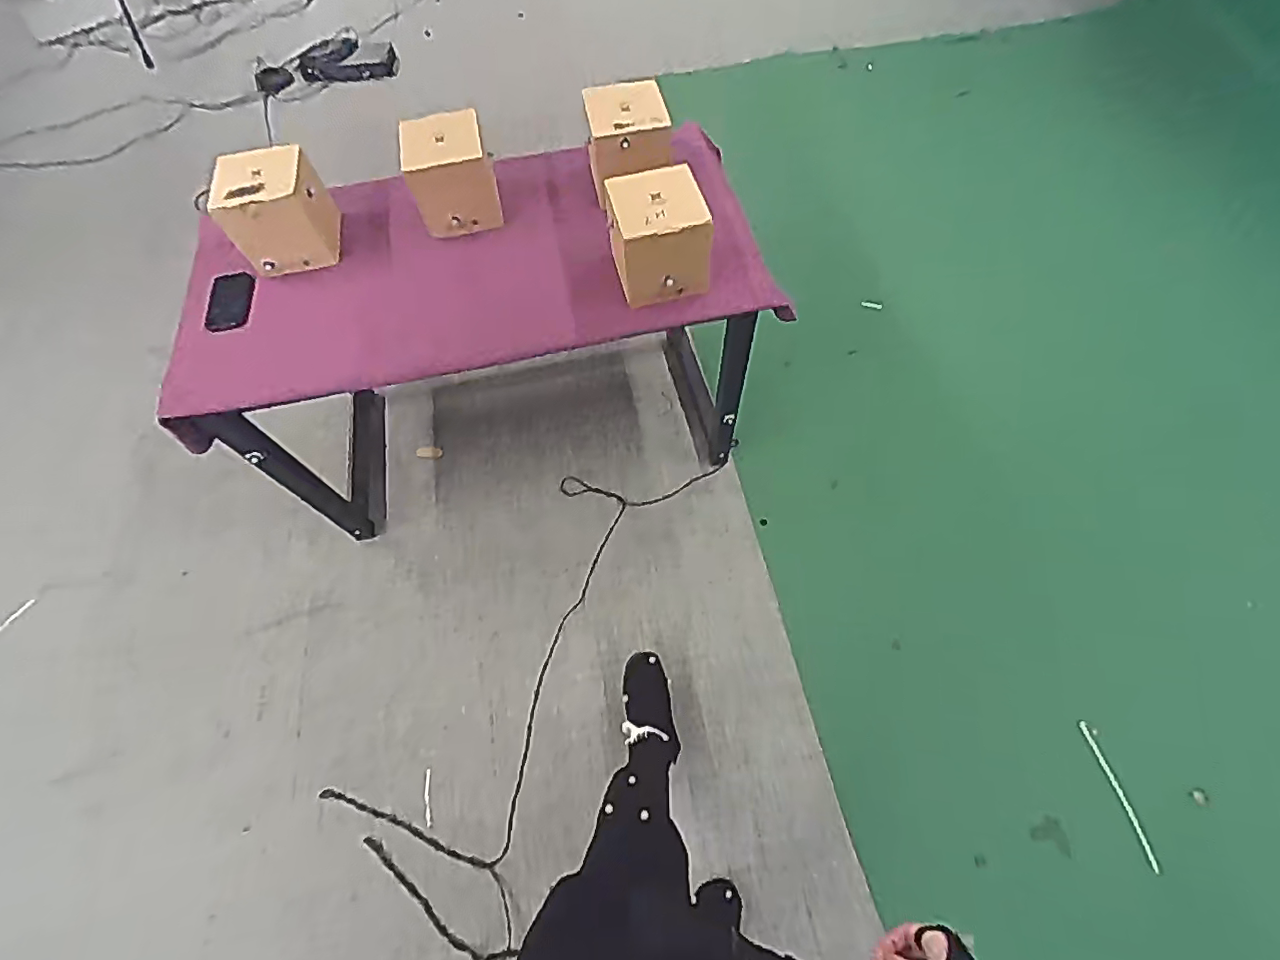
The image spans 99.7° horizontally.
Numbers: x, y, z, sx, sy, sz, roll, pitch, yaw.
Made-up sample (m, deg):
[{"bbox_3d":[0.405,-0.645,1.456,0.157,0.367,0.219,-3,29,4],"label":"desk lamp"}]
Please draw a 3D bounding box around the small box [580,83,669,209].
[{"bbox_3d":[-0.032,-0.739,1.205,0.168,0.176,0.179,-12,63,-2],"label":"small box"}]

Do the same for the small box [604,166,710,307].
[{"bbox_3d":[0.031,-0.472,1.060,0.168,0.176,0.179,-14,63,-2],"label":"small box"}]

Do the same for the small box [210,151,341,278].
[{"bbox_3d":[-0.761,-0.554,1.151,0.168,0.176,0.179,-13,62,-4],"label":"small box"}]

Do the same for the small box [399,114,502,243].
[{"bbox_3d":[-0.412,-0.656,1.185,0.168,0.176,0.179,-13,64,-3],"label":"small box"}]
